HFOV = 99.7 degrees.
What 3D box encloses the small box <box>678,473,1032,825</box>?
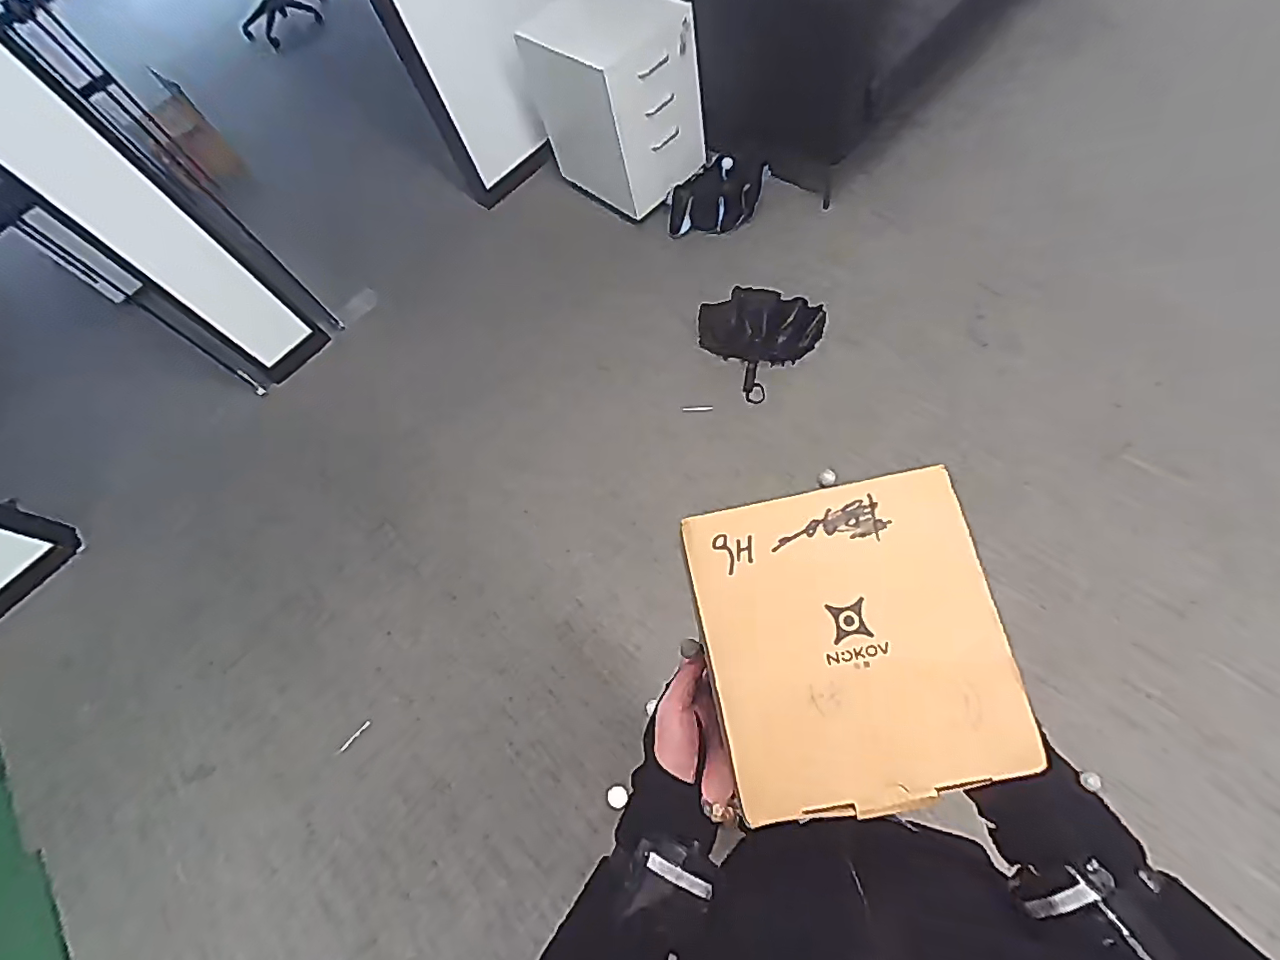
[{"bbox_3d":[0.125,0.108,0.392,0.168,0.176,0.179,-12,78,1],"label":"small box"}]
